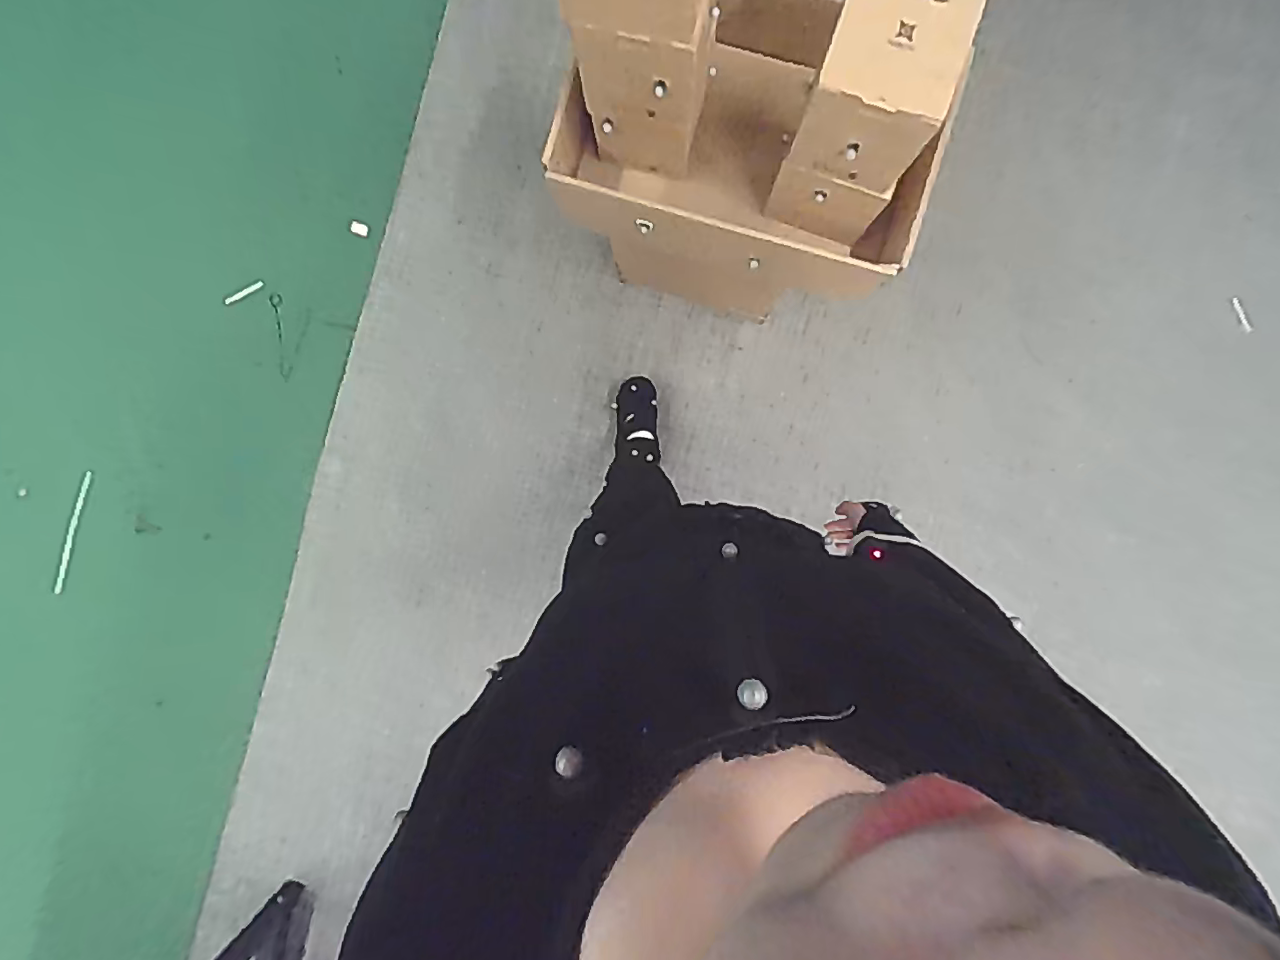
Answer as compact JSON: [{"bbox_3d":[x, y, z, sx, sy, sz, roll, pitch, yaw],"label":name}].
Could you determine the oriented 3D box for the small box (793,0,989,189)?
[{"bbox_3d":[0.326,-0.540,0.743,0.168,0.176,0.179,19,92,2],"label":"small box"}]

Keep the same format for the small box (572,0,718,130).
[{"bbox_3d":[0.015,-0.635,0.757,0.168,0.176,0.179,13,90,2],"label":"small box"}]

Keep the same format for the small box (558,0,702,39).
[{"bbox_3d":[-0.005,-0.638,0.595,0.179,0.176,0.168,11,91,1],"label":"small box"}]
